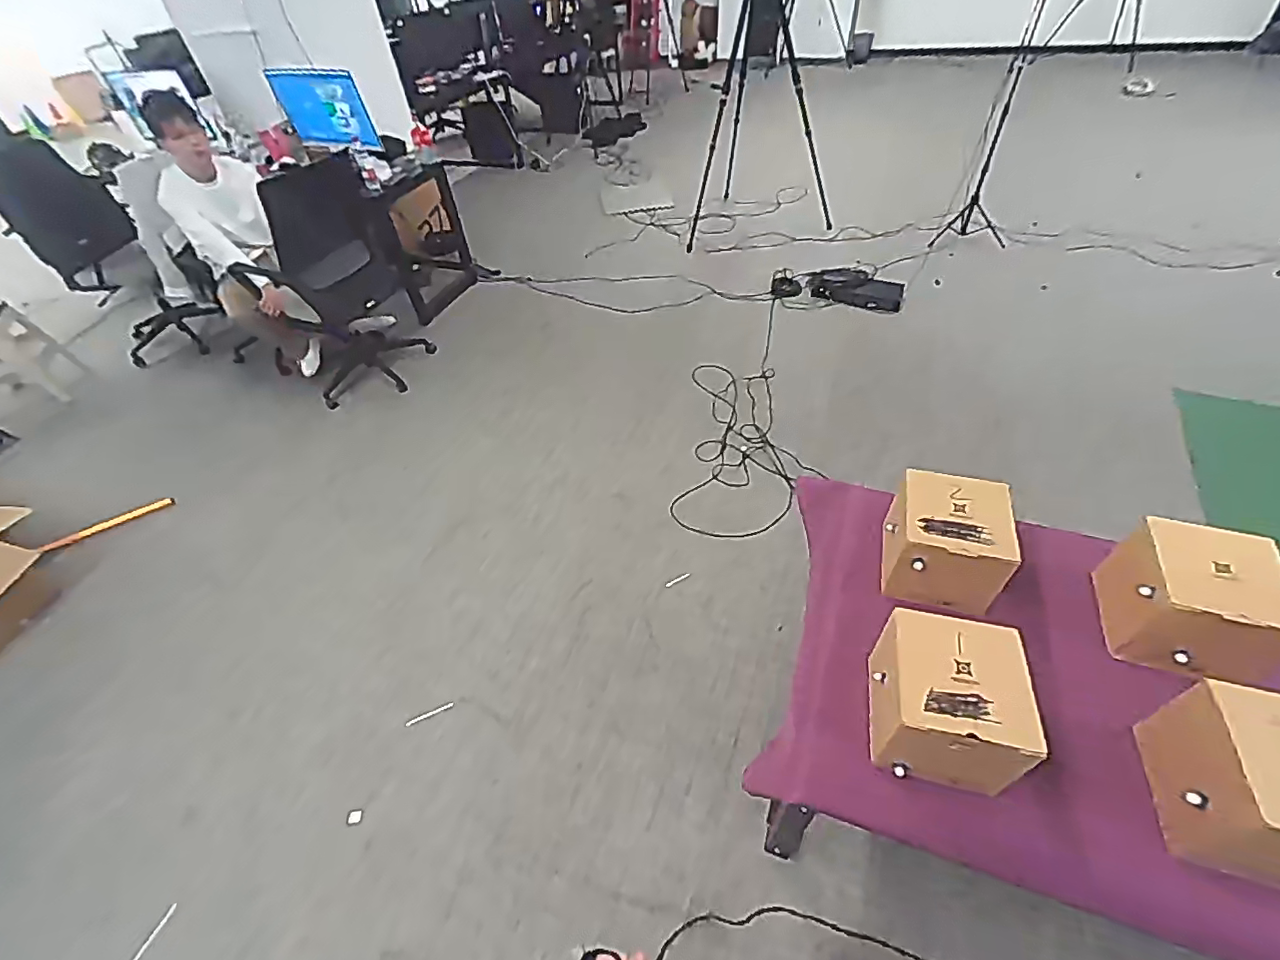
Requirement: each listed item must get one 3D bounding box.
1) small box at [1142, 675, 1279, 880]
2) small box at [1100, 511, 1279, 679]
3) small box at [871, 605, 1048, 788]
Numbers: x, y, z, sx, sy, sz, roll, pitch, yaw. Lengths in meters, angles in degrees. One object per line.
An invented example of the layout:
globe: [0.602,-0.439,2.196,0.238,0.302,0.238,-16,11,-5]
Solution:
small box: [0.784,0.378,0.669,0.168,0.176,0.179,11,48,15]
small box: [0.868,0.181,0.848,0.168,0.176,0.179,12,51,17]
small box: [0.436,0.311,0.772,0.168,0.176,0.179,8,47,13]
